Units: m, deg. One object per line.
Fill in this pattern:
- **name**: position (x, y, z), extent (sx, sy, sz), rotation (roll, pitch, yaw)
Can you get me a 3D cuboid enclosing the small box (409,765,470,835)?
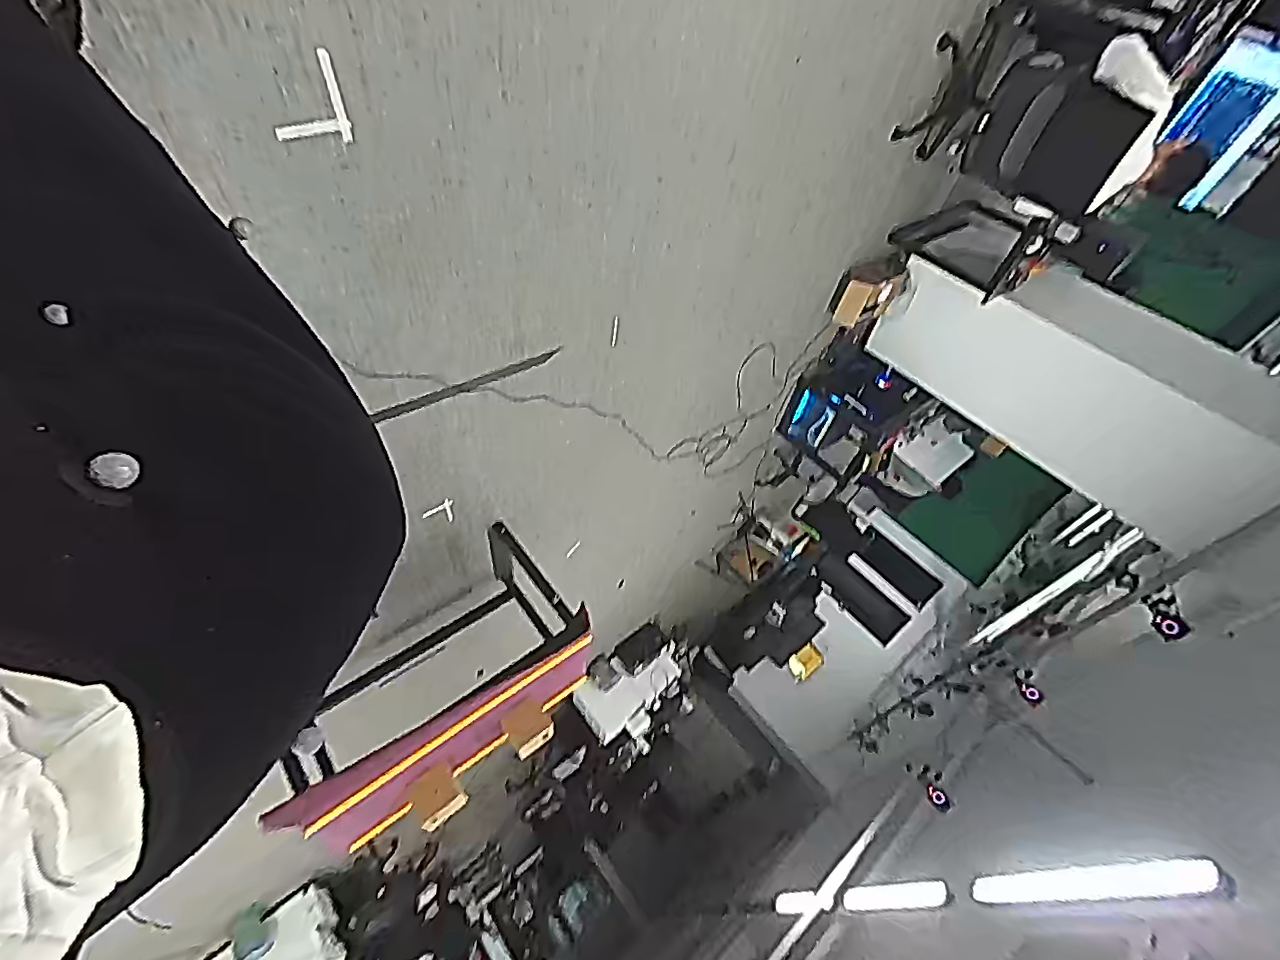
- **small box**: position (-0.841, 1.337, 2.260), extent (0.179, 0.176, 0.168), rotation (-32, 150, -27)
